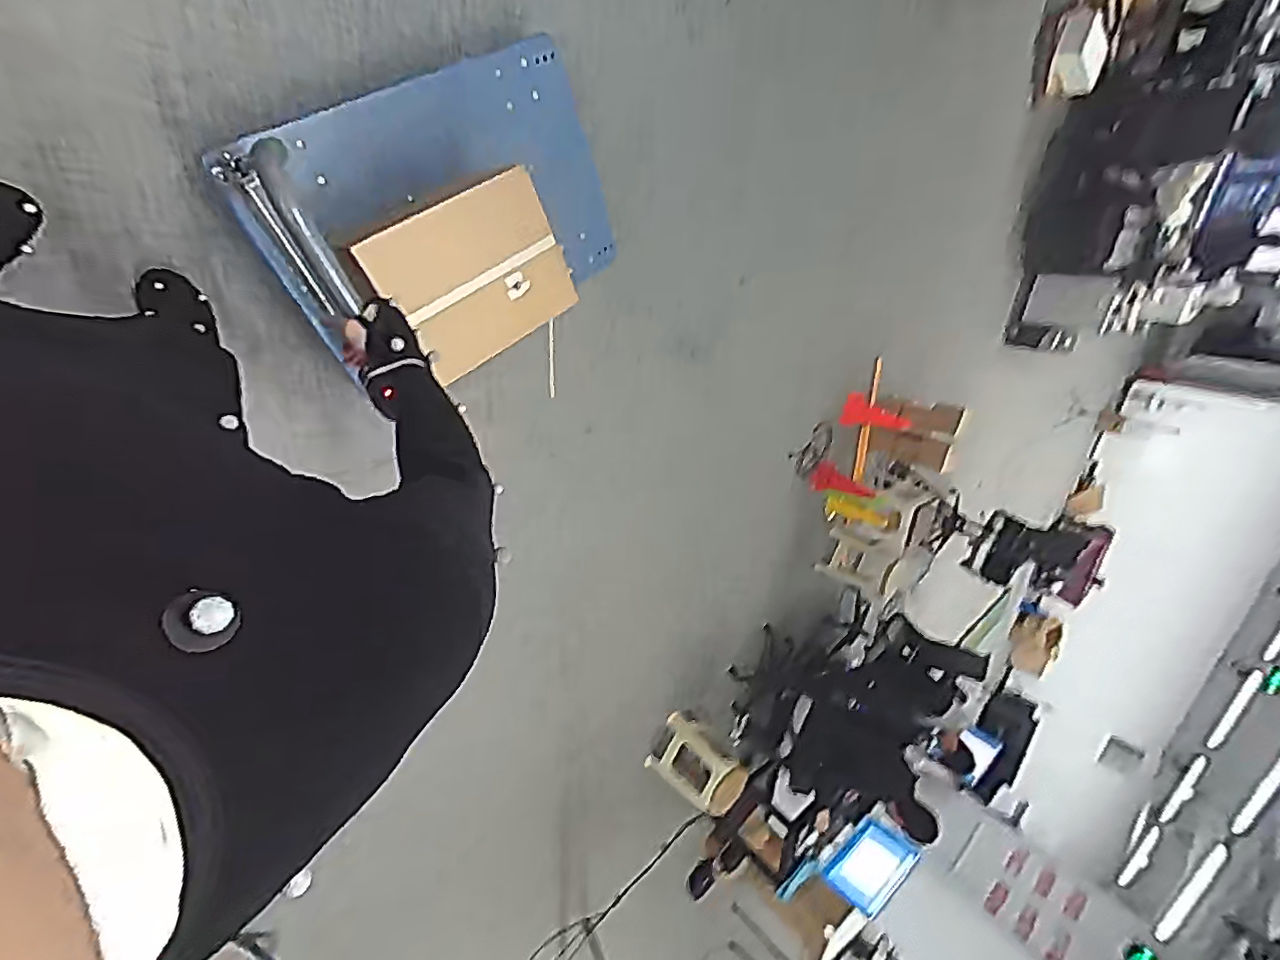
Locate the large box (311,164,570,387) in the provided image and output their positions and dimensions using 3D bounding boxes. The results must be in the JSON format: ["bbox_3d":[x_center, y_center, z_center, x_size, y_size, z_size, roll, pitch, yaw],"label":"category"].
[{"bbox_3d":[-0.447,-0.472,1.245,0.408,0.320,0.320,-41,133,-23],"label":"large box"}]
